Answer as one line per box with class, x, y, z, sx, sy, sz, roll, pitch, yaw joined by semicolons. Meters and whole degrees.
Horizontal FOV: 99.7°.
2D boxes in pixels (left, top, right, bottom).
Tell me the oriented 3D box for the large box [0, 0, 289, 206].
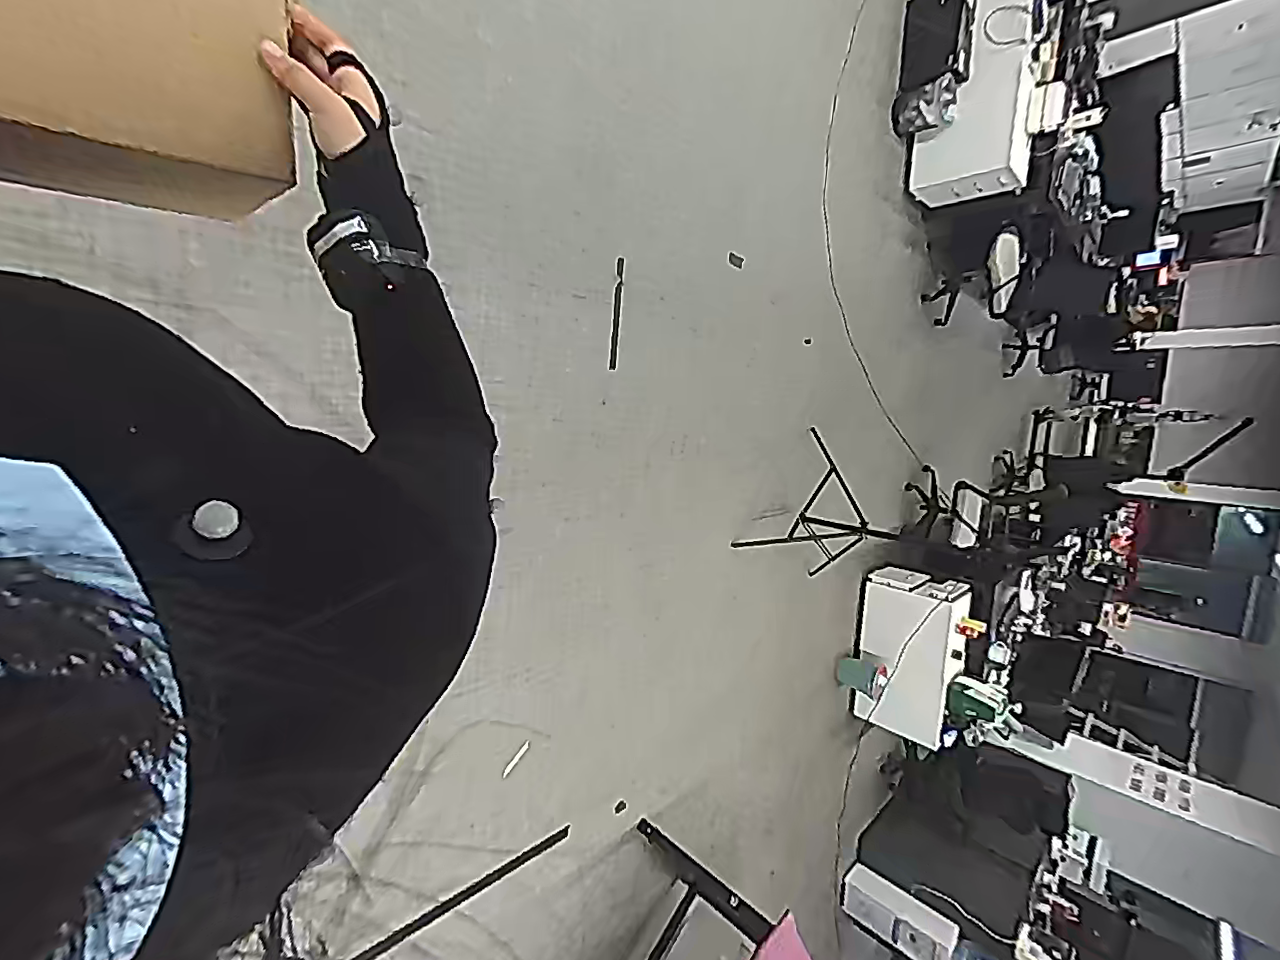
large box;-0.521;-0.412;0.379;0.408;0.320;0.320;-8;108;-42
